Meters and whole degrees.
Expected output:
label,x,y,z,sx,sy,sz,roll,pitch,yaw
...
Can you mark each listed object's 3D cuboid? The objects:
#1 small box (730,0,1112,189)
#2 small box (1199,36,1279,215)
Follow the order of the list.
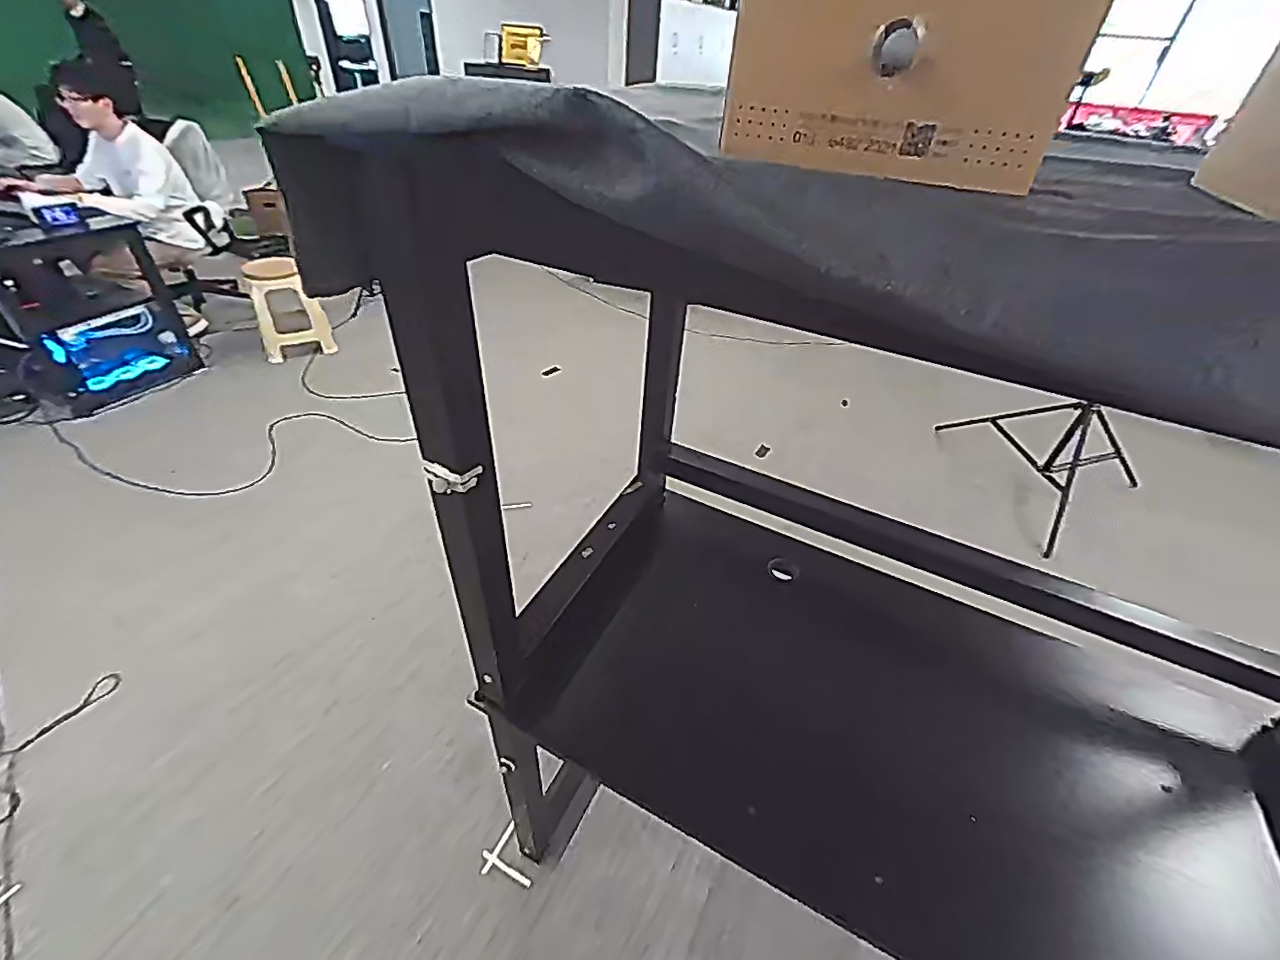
label,x,y,z,sx,sy,sz,roll,pitch,yaw
small box,0.156,-0.282,0.310,0.168,0.176,0.179,14,39,12
small box,0.420,-0.200,0.238,0.168,0.176,0.179,20,40,18
